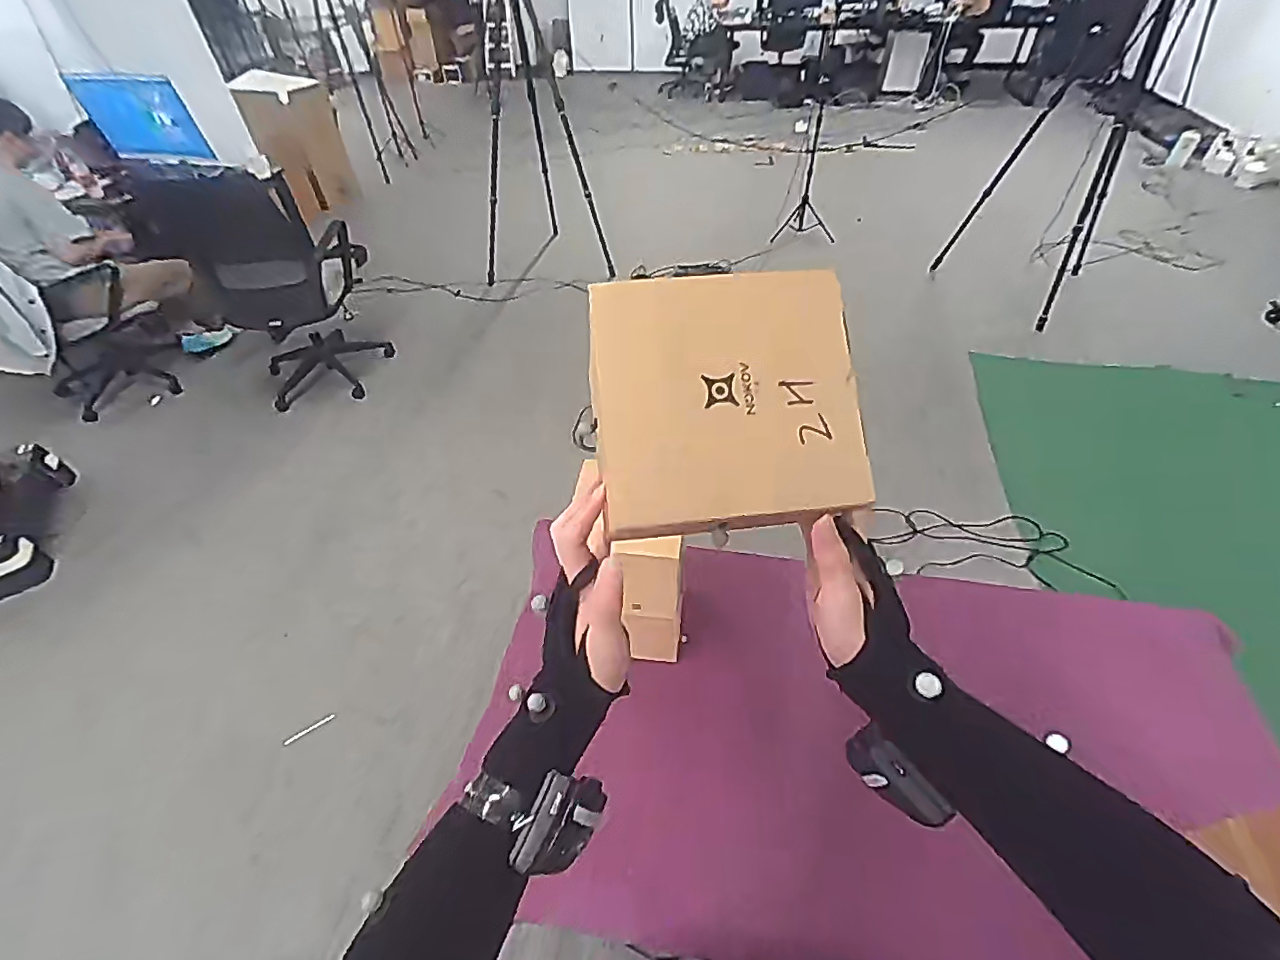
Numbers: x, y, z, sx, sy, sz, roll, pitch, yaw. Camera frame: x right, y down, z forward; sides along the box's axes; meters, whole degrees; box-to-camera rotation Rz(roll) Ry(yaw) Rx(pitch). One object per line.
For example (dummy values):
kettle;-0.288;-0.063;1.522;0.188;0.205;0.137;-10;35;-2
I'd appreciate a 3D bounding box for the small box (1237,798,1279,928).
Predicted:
small box;0.739;0.402;0.502;0.168;0.176;0.179;8;47;13

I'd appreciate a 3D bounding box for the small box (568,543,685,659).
small box;-0.016;0.200;0.956;0.179;0.176;0.168;4;46;7

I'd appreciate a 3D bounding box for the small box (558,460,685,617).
small box;-0.017;0.092;0.836;0.168;0.176;0.179;4;46;7

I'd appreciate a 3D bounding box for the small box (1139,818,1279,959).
small box;0.743;0.519;0.616;0.179;0.176;0.168;10;46;11

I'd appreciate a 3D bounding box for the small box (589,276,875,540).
small box;0.054;-0.042;0.432;0.179;0.176;0.168;-5;83;-6
